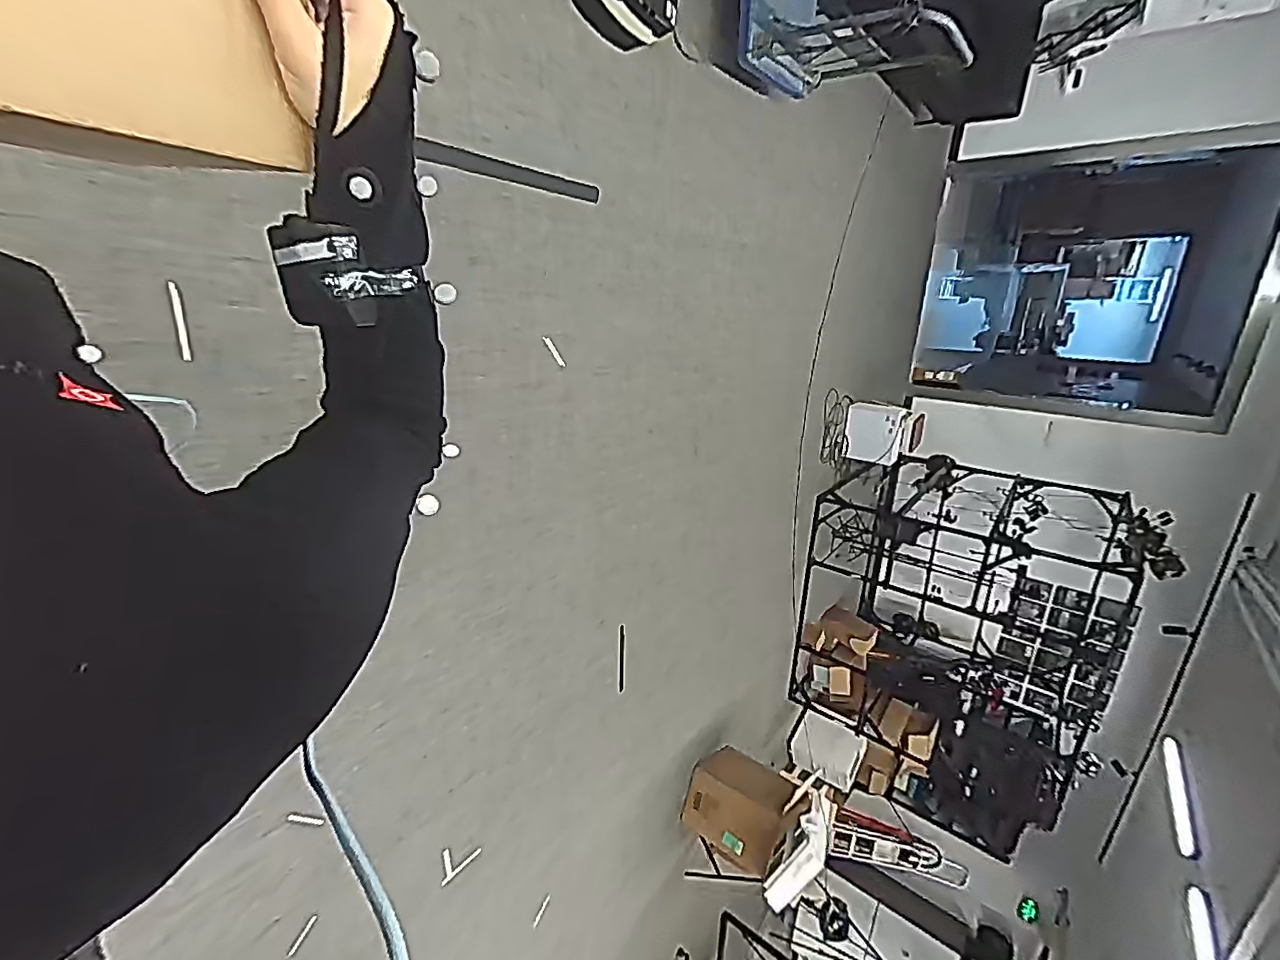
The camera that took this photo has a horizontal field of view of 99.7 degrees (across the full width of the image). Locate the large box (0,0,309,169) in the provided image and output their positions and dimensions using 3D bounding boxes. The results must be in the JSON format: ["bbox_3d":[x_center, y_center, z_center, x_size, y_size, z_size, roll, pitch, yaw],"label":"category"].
[{"bbox_3d":[-0.418,-0.326,0.193,0.408,0.320,0.320,-22,127,-52],"label":"large box"}]
